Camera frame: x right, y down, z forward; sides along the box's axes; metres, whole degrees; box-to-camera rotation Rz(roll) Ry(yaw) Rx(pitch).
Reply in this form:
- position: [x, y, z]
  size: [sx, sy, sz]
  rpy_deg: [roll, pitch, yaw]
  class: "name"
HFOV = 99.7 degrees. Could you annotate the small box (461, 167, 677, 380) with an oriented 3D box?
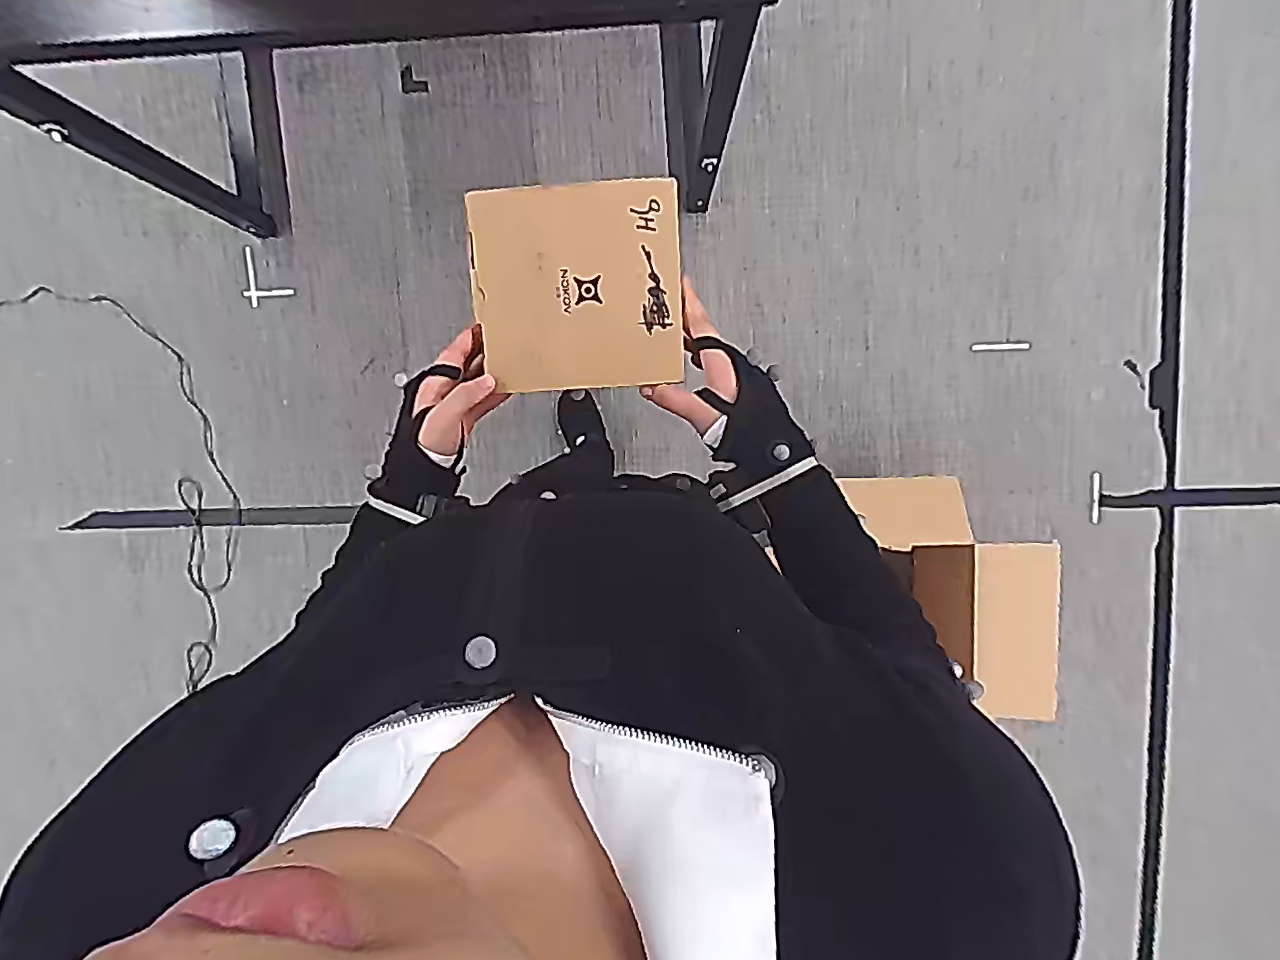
- position: [-0.054, -0.183, 0.529]
  size: [0.179, 0.176, 0.168]
  rpy_deg: [-2, 102, 2]
  class: "small box"
